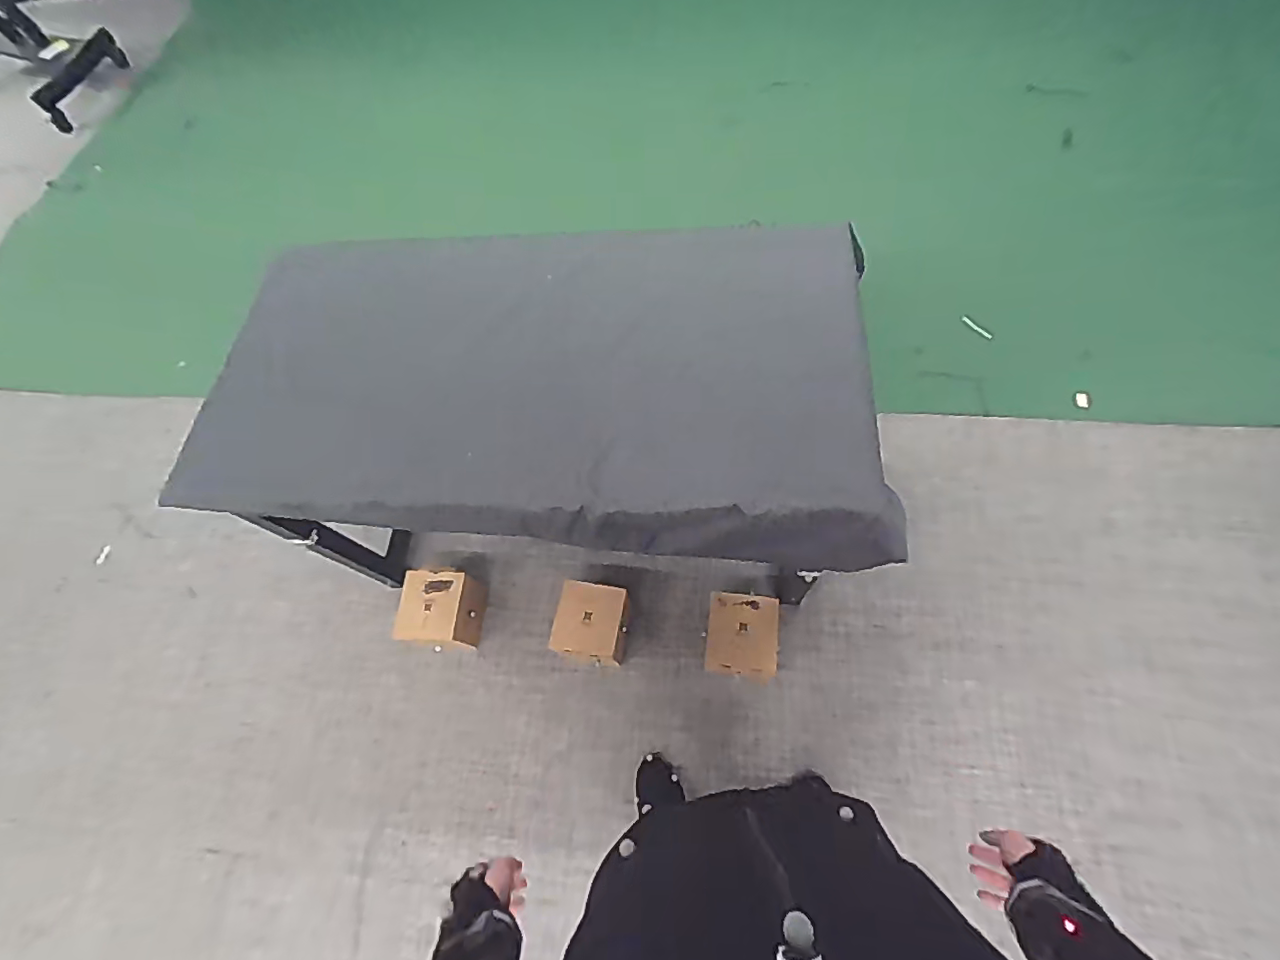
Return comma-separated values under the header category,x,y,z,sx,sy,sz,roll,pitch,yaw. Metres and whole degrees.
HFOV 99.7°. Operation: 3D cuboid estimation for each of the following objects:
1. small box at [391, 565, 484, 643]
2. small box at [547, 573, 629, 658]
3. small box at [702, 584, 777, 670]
category,x,y,z,sx,sy,sz,roll,pitch,yaw
small box,-0.537,0.339,1.465,0.168,0.176,0.179,1,67,7
small box,-0.127,0.359,1.413,0.168,0.176,0.179,7,67,8
small box,0.249,0.374,1.363,0.168,0.176,0.179,5,66,9
